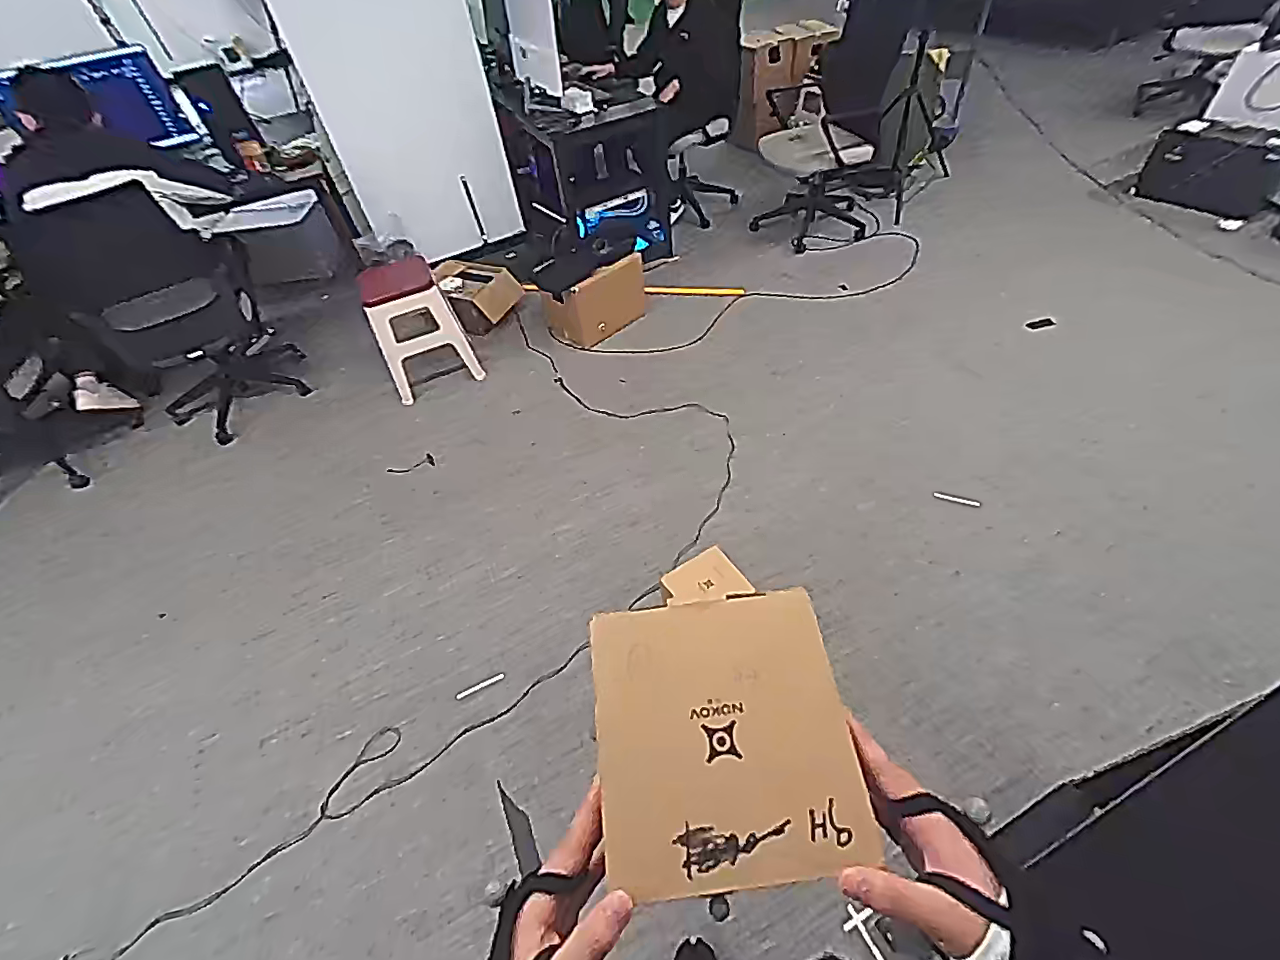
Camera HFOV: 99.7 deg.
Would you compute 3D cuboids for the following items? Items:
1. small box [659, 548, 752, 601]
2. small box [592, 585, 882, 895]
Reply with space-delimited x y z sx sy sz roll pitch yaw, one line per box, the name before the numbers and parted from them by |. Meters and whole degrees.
small box | 0.167 0.313 1.371 0.179 0.176 0.168 -28 52 -18
small box | 0.056 0.203 0.426 0.168 0.176 0.179 -8 57 -1
